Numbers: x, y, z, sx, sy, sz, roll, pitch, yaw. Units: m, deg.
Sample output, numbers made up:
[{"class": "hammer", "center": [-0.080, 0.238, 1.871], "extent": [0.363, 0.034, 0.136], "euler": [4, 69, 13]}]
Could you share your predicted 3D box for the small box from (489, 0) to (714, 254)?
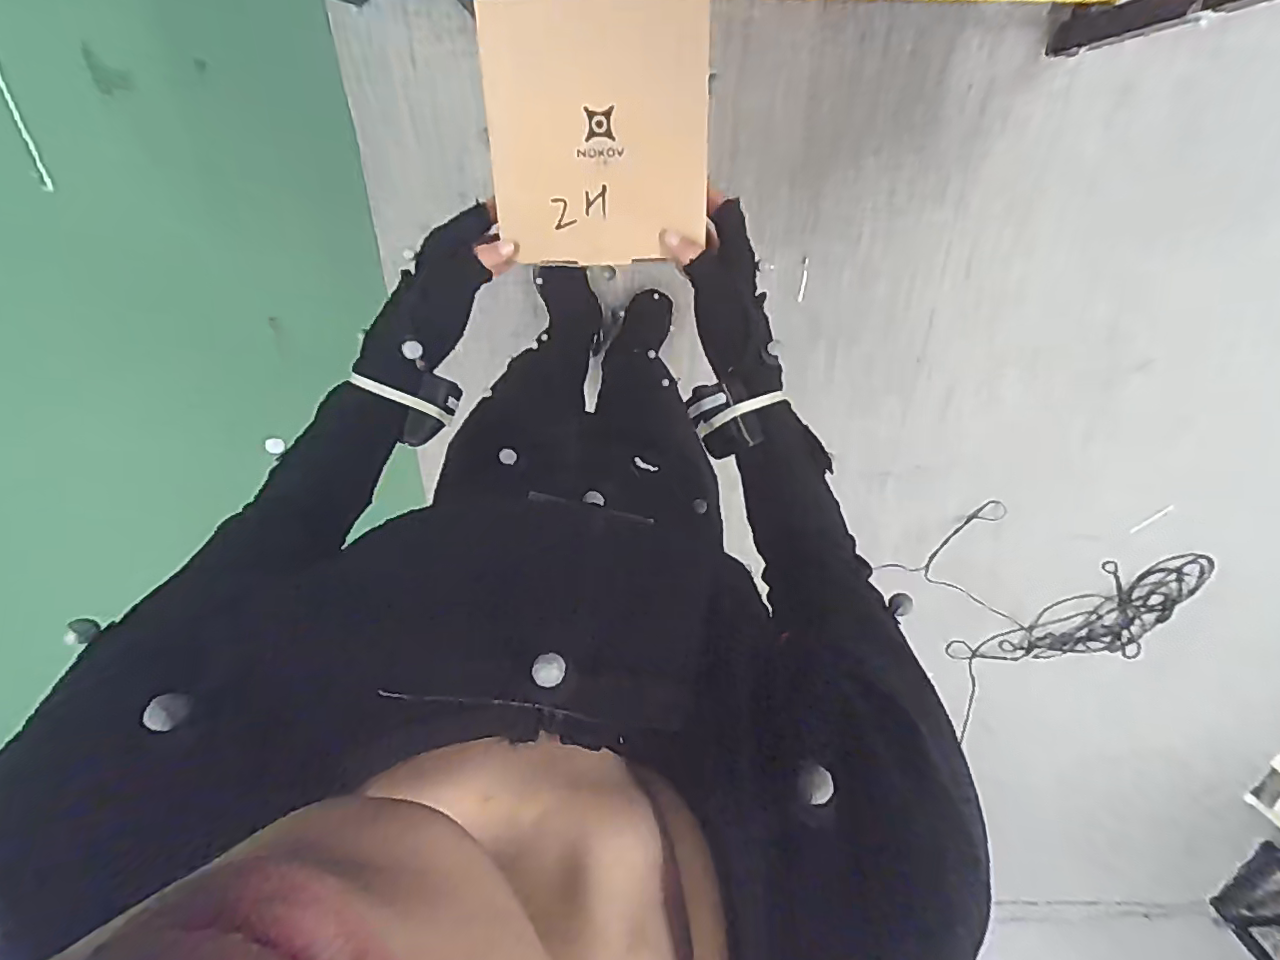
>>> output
[{"class": "small box", "center": [-0.030, -0.303, 0.490], "extent": [0.168, 0.176, 0.179], "euler": [-1, 111, -1]}]
